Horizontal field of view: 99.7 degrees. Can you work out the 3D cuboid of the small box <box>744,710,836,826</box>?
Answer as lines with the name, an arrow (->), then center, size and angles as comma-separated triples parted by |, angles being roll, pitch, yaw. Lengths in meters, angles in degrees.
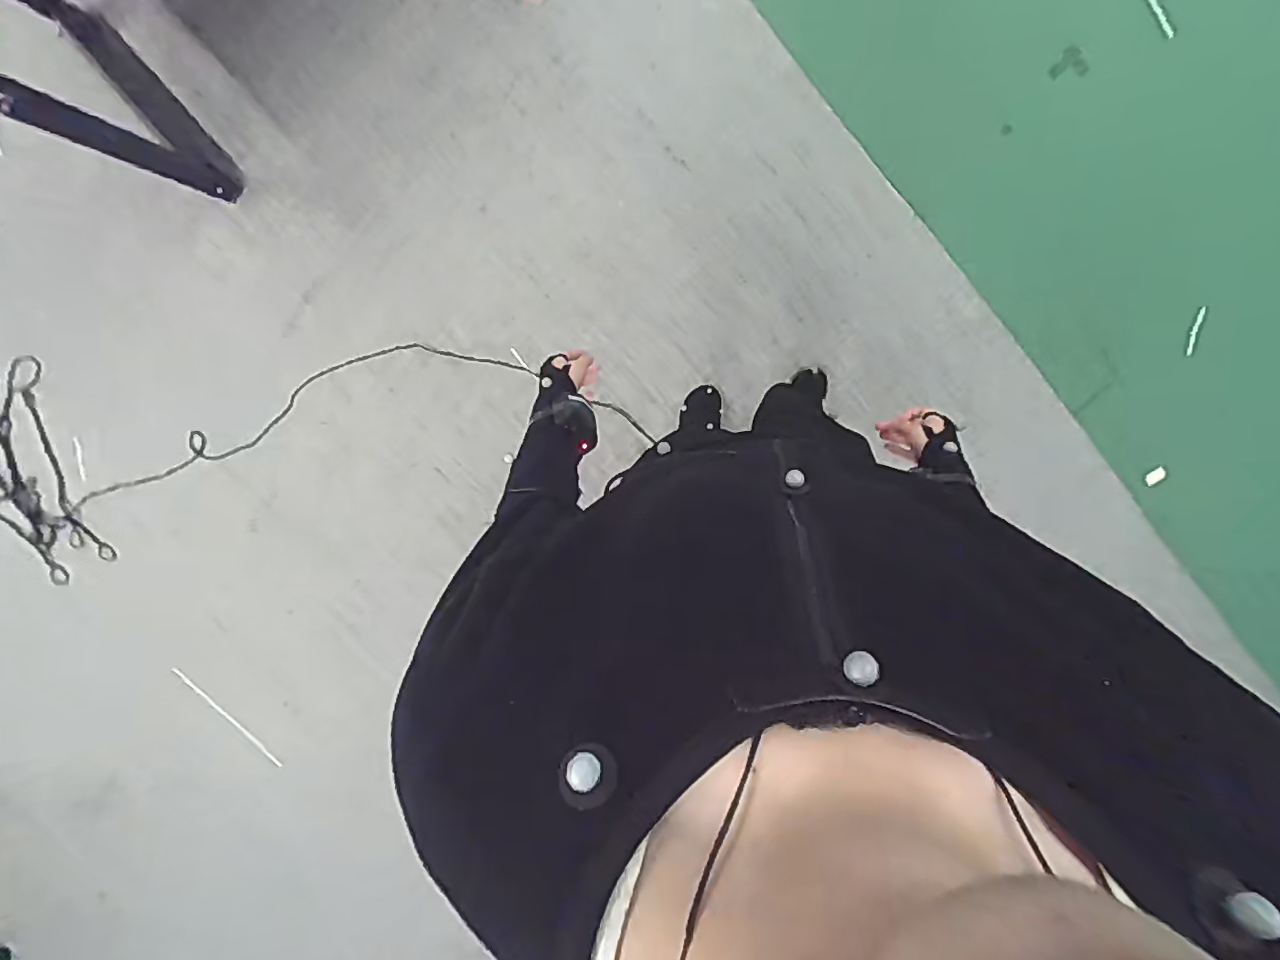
small box -> 0.371, 0.720, 1.362 | 0.168, 0.176, 0.179 | -20, 99, 8

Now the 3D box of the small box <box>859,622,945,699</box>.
small box -> 0.661, 0.465, 1.297 | 0.168, 0.176, 0.179 | -42, 96, 11
